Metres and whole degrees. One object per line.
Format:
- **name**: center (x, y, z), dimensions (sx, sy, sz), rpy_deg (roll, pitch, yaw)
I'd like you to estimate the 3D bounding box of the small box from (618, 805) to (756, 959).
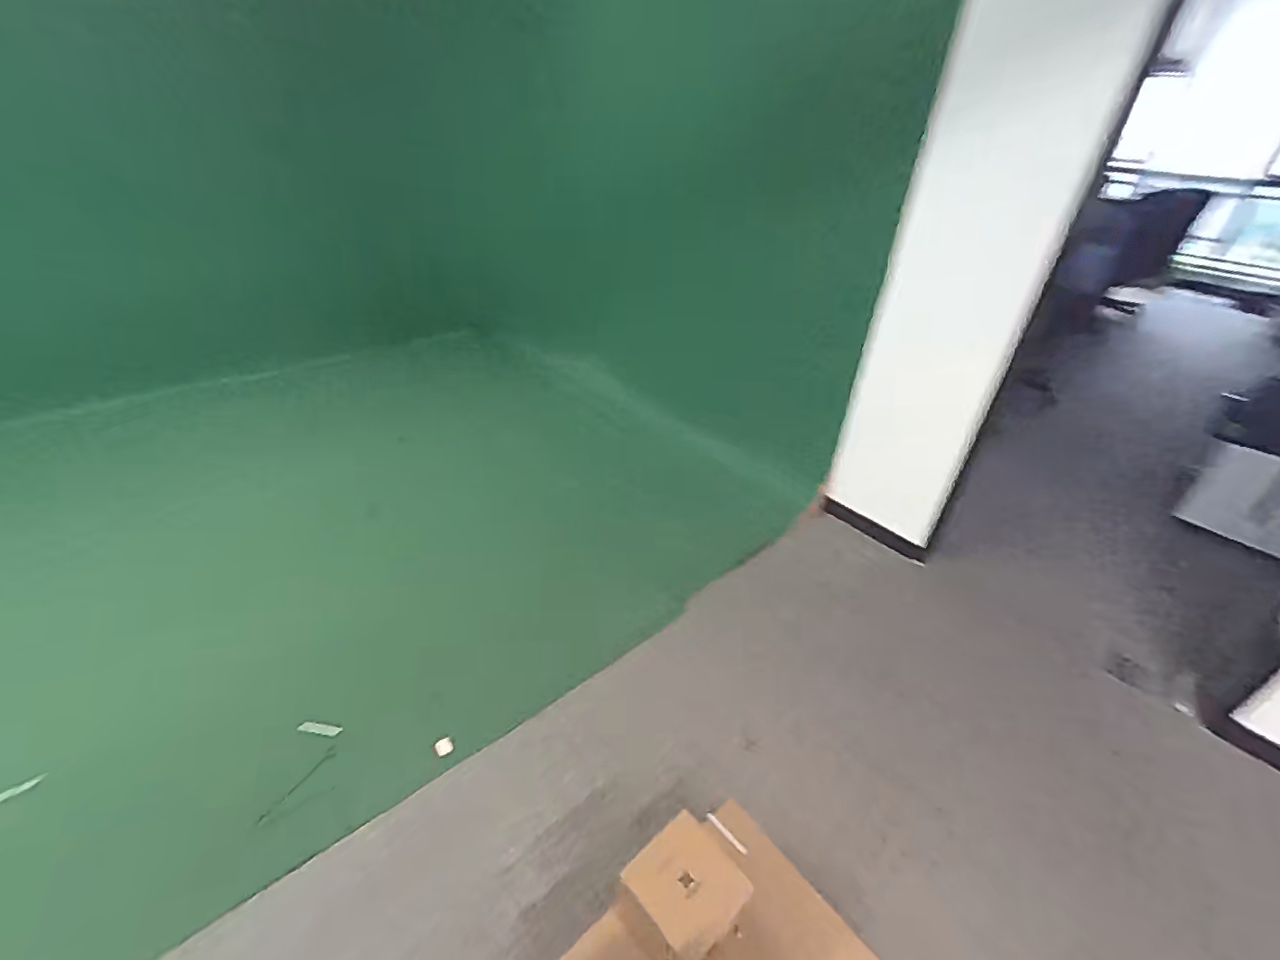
- **small box**: center (0.077, 0.738, 0.960), dimensions (0.168, 0.176, 0.179), rpy_deg (-23, 42, -35)
